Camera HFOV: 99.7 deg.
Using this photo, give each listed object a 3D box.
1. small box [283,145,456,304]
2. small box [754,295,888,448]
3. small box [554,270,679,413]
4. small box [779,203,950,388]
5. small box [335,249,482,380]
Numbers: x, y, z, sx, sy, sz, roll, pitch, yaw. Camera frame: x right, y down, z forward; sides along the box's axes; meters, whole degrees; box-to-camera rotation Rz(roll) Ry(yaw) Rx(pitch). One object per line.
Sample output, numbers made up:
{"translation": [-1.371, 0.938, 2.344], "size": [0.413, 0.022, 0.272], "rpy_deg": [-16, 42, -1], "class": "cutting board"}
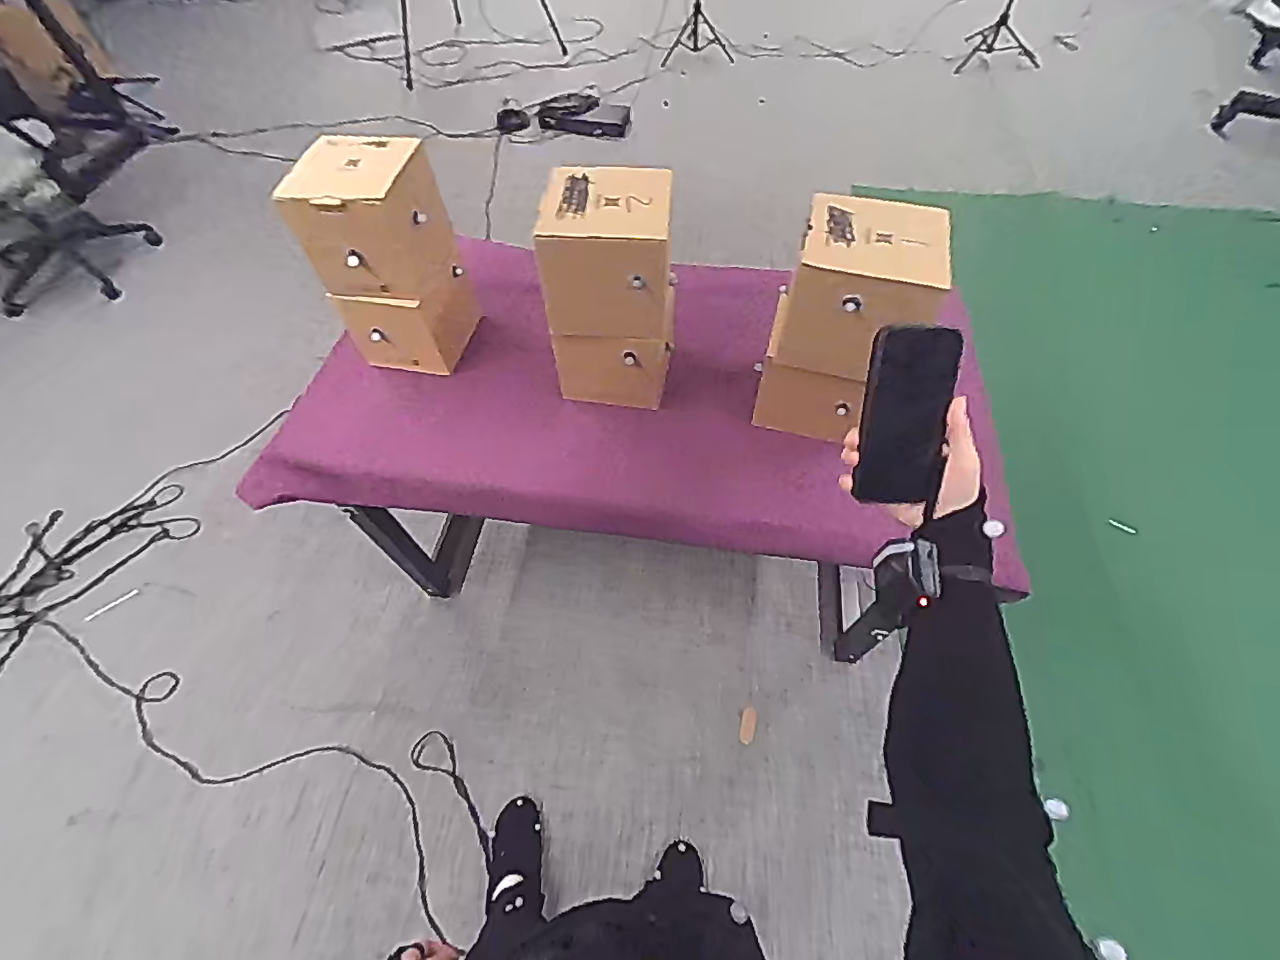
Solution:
{"translation": [-0.415, -0.405, 0.869], "size": [0.168, 0.176, 0.179], "rpy_deg": [5, 58, 4], "class": "small box"}
{"translation": [0.299, -0.173, 0.892], "size": [0.179, 0.176, 0.168], "rpy_deg": [13, 58, 11], "class": "small box"}
{"translation": [-0.033, -0.236, 0.941], "size": [0.179, 0.176, 0.168], "rpy_deg": [8, 58, 7], "class": "small box"}
{"translation": [0.300, -0.249, 0.746], "size": [0.179, 0.176, 0.168], "rpy_deg": [14, 58, 10], "class": "small box"}
{"translation": [-0.412, -0.308, 1.002], "size": [0.168, 0.176, 0.179], "rpy_deg": [9, 58, 8], "class": "small box"}
